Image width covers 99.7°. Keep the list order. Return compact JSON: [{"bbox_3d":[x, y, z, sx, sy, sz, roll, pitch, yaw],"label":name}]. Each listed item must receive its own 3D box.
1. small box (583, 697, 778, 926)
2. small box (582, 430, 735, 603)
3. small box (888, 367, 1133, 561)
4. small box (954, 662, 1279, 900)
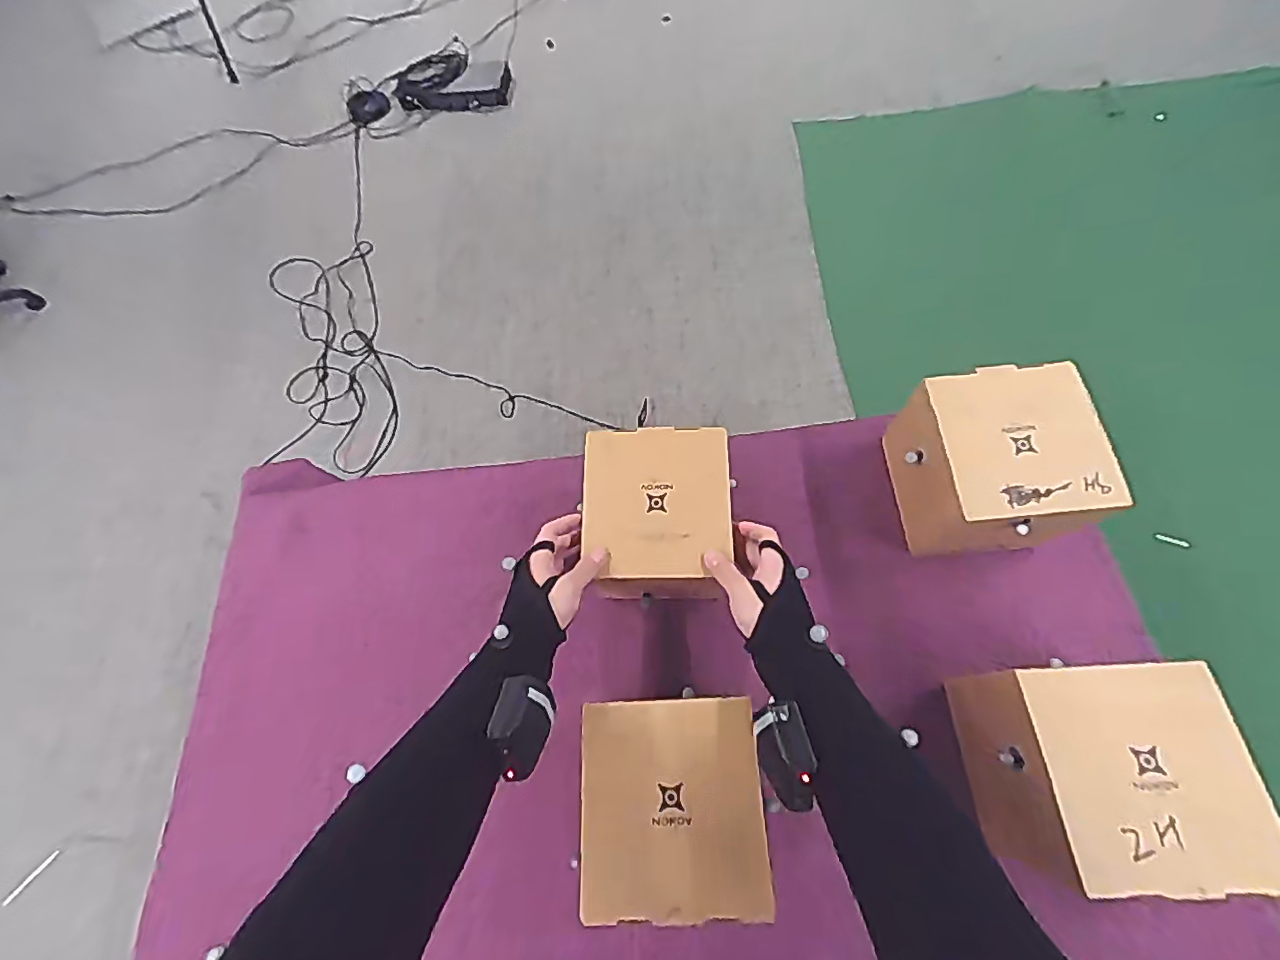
[{"bbox_3d":[0.037,0.325,0.557,0.168,0.176,0.179,-4,66,4],"label":"small box"},{"bbox_3d":[0.026,0.052,0.674,0.168,0.176,0.179,-1,69,5],"label":"small box"},{"bbox_3d":[0.422,-0.012,0.657,0.168,0.176,0.179,-6,67,6],"label":"small box"},{"bbox_3d":[0.439,0.282,0.527,0.168,0.176,0.179,-5,64,6],"label":"small box"}]
